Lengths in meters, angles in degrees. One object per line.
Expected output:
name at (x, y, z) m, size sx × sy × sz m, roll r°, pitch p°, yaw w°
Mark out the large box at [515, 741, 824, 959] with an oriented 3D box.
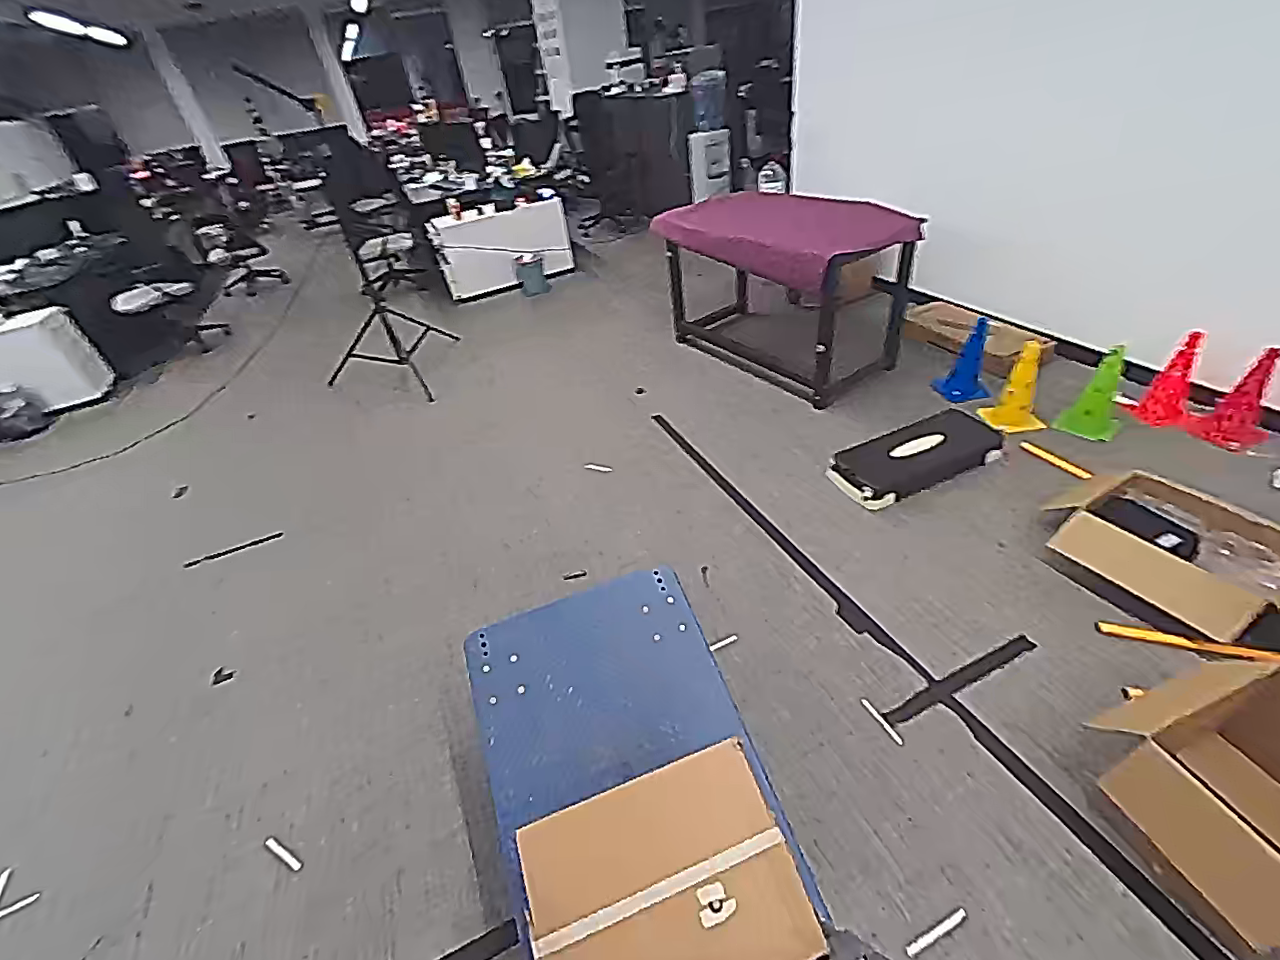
large box at (0.036, 0.724, 0.952) m, size 0.408 × 0.320 × 0.320 m, roll -18°, pitch 57°, yaw -11°
